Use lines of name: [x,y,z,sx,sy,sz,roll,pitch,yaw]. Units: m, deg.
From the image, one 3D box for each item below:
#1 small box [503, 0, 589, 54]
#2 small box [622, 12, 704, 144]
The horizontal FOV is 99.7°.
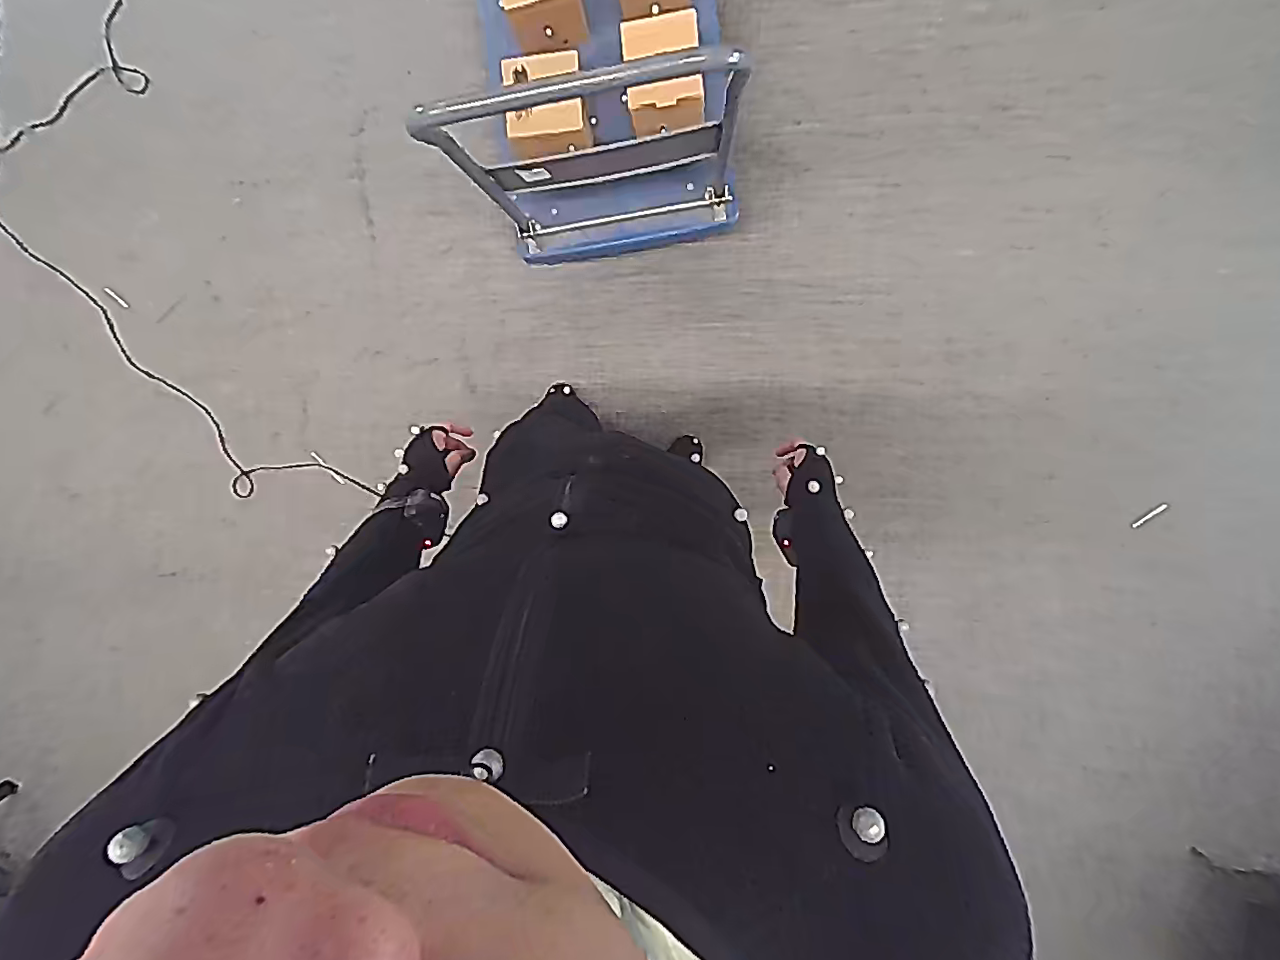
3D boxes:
small box: [-0.226,-1.143,1.261,0.168,0.176,0.179,-11,96,7]
small box: [0.056,-0.924,1.258,0.168,0.176,0.179,-6,97,7]
